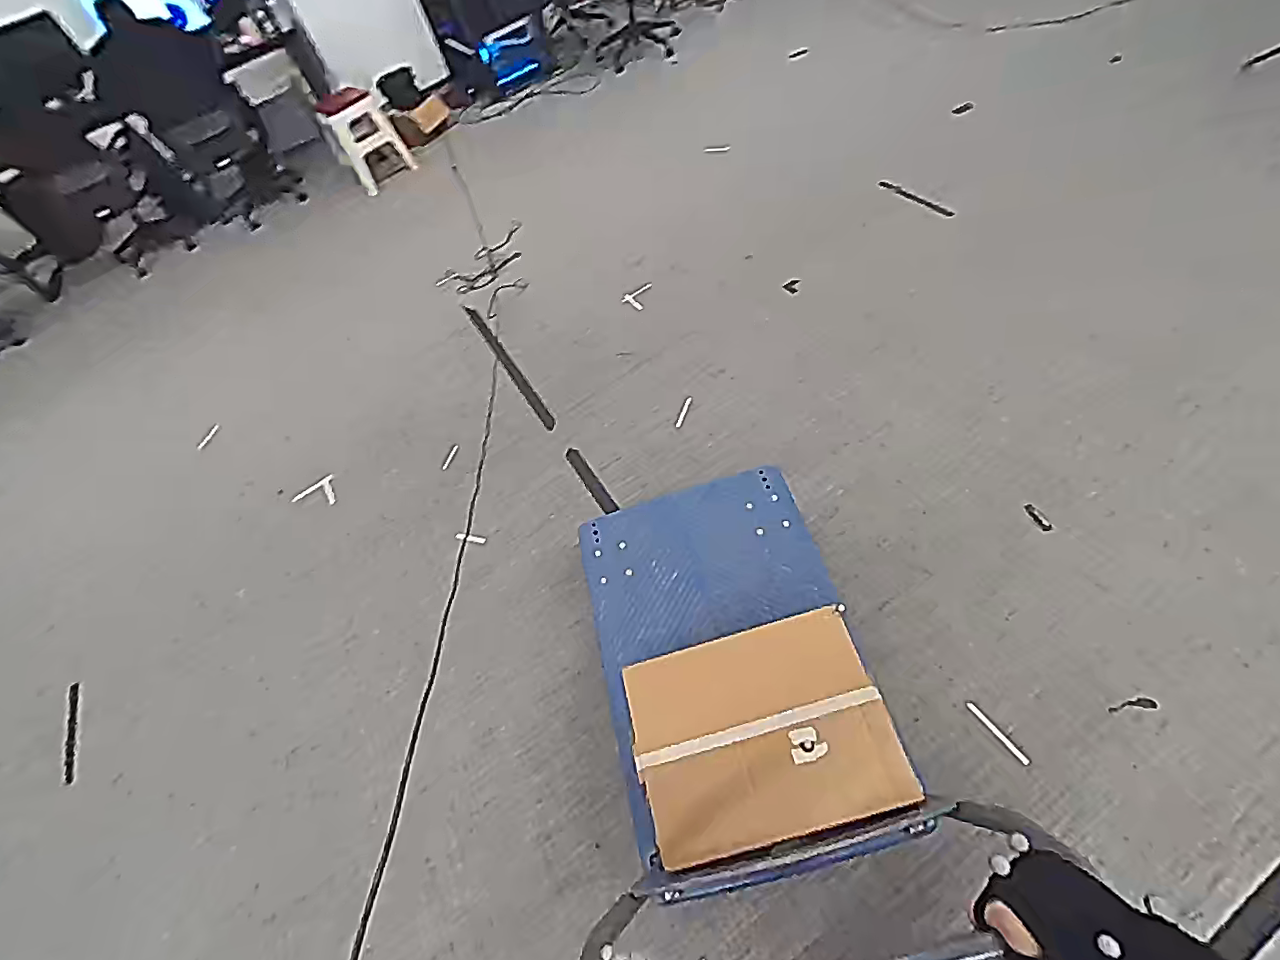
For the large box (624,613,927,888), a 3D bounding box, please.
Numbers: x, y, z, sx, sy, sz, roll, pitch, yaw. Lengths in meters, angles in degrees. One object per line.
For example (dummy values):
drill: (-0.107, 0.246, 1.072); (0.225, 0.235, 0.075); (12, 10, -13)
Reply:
large box: (0.221, 0.493, 0.990); (0.408, 0.320, 0.320); (-18, 57, 2)
